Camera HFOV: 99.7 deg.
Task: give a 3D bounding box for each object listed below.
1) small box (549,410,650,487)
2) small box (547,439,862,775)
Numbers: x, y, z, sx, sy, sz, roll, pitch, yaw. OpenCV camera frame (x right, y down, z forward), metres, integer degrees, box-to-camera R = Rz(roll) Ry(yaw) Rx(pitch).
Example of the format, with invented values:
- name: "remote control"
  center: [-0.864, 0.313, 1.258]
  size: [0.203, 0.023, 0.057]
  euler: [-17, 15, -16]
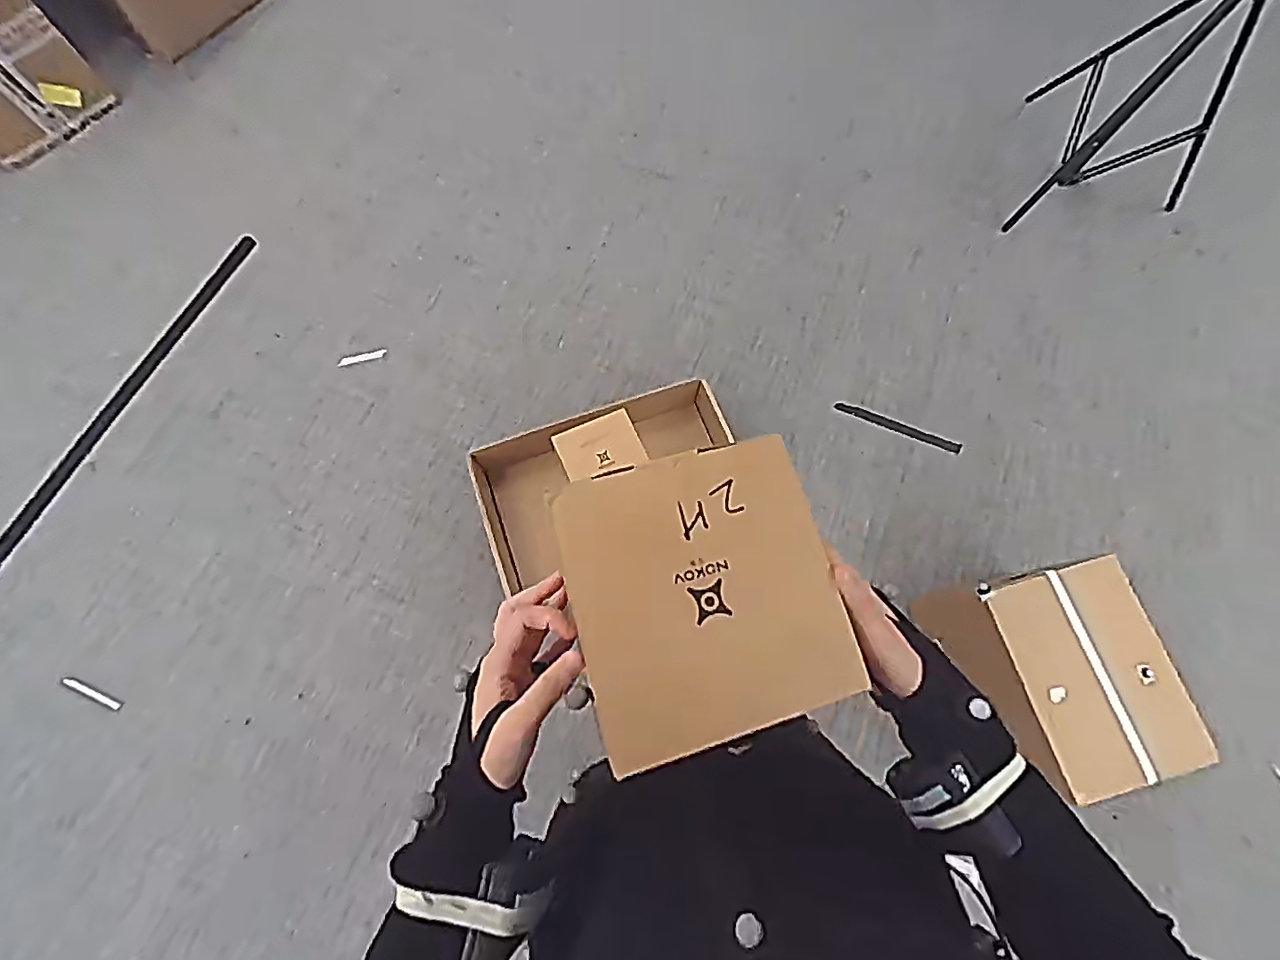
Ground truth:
- name: "small box"
  center: [-0.079, -0.017, 1.160]
  size: [0.168, 0.176, 0.179]
  euler: [-23, 74, -10]
- name: "small box"
  center: [0.031, 0.090, 0.416]
  size: [0.168, 0.176, 0.179]
  euler: [-14, 78, -11]
